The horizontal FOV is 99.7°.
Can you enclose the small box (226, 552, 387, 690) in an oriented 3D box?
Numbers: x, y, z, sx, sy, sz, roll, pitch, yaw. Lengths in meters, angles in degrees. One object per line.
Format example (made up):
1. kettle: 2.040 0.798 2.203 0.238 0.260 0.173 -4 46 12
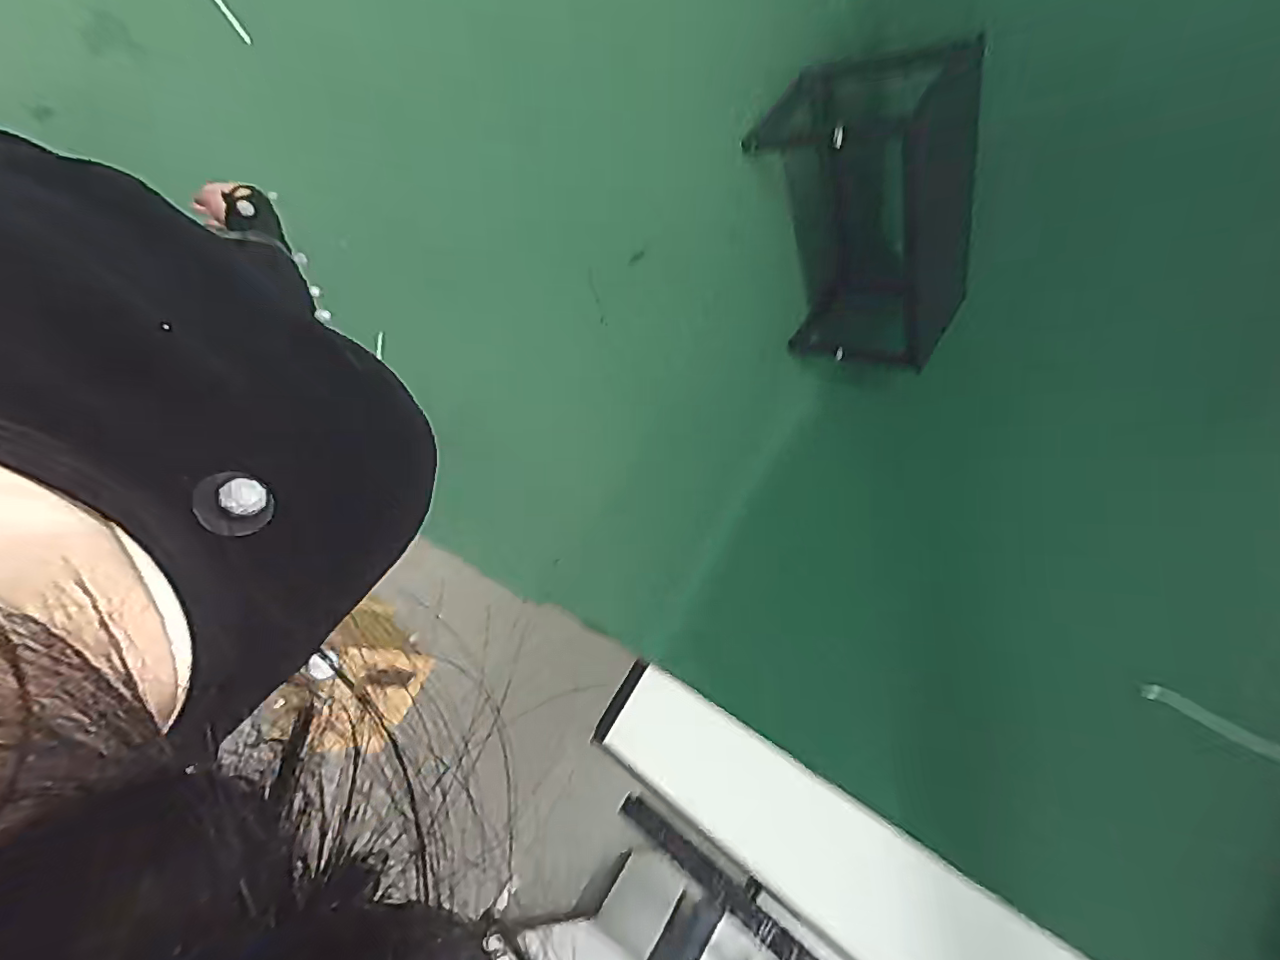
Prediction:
1. small box: -0.616 0.257 0.996 0.179 0.176 0.168 -60 142 -9
